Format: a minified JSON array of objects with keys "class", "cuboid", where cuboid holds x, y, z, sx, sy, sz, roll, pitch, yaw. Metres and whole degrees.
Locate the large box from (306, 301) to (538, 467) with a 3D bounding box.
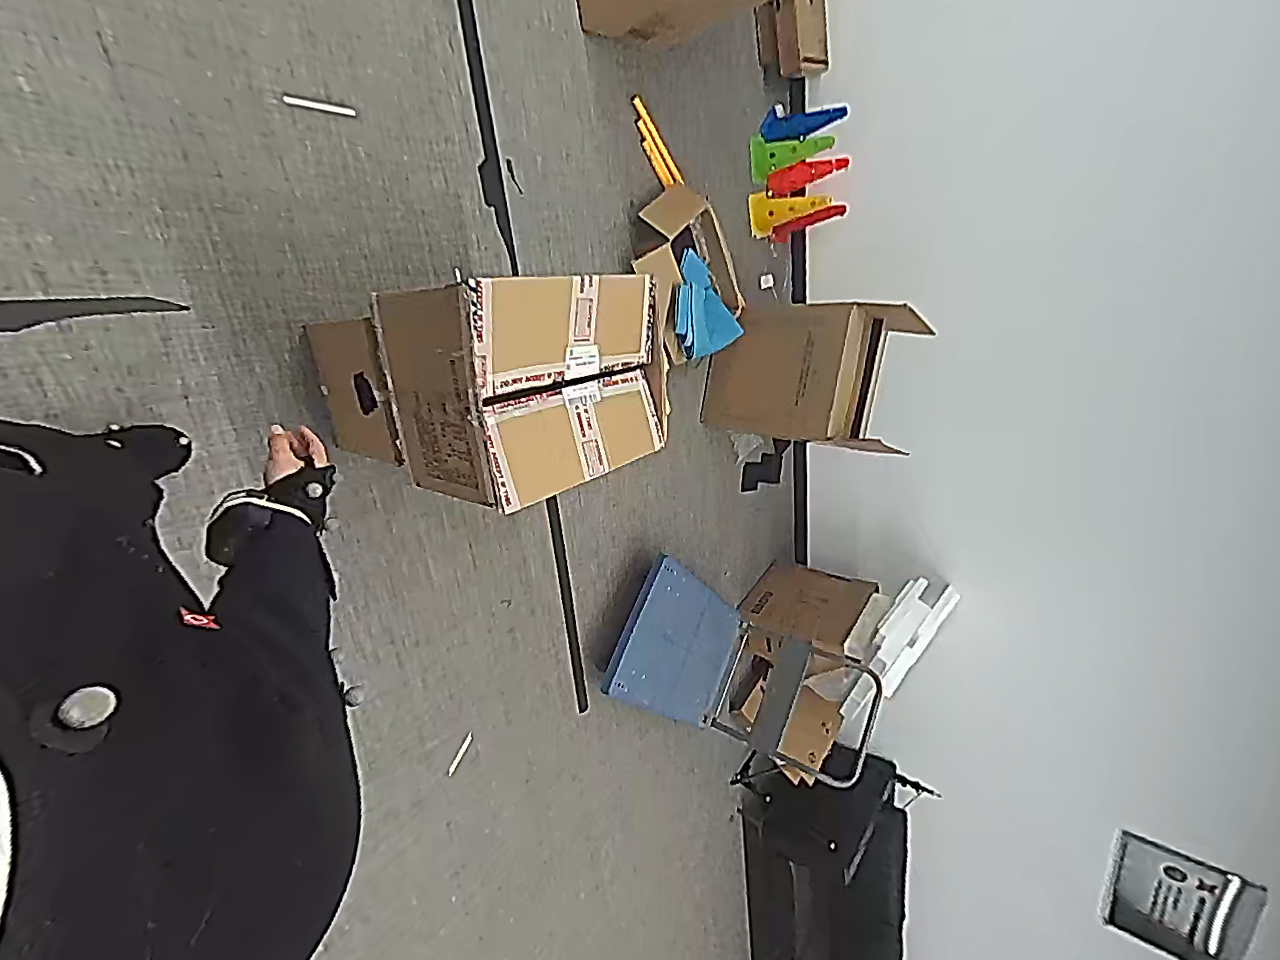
[{"class":"large box","cuboid":[-0.519,-0.255,1.332,0.408,0.320,0.320,-25,116,-44]}]
